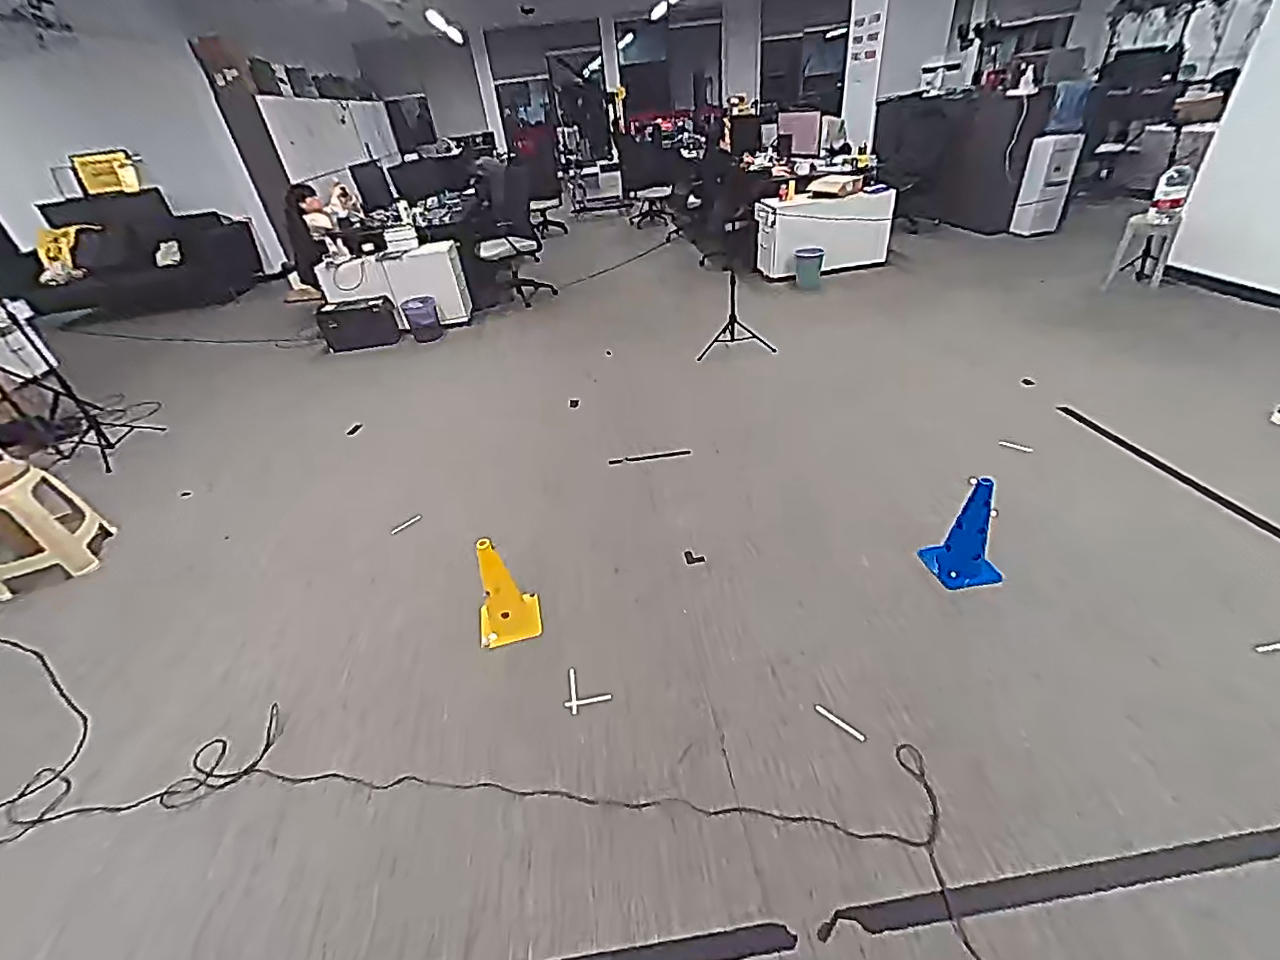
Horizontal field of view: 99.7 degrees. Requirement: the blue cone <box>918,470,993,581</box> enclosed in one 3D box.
[{"bbox_3d":[1.066,0.139,1.766,0.193,0.380,0.192,-9,34,-2],"label":"blue cone"}]
